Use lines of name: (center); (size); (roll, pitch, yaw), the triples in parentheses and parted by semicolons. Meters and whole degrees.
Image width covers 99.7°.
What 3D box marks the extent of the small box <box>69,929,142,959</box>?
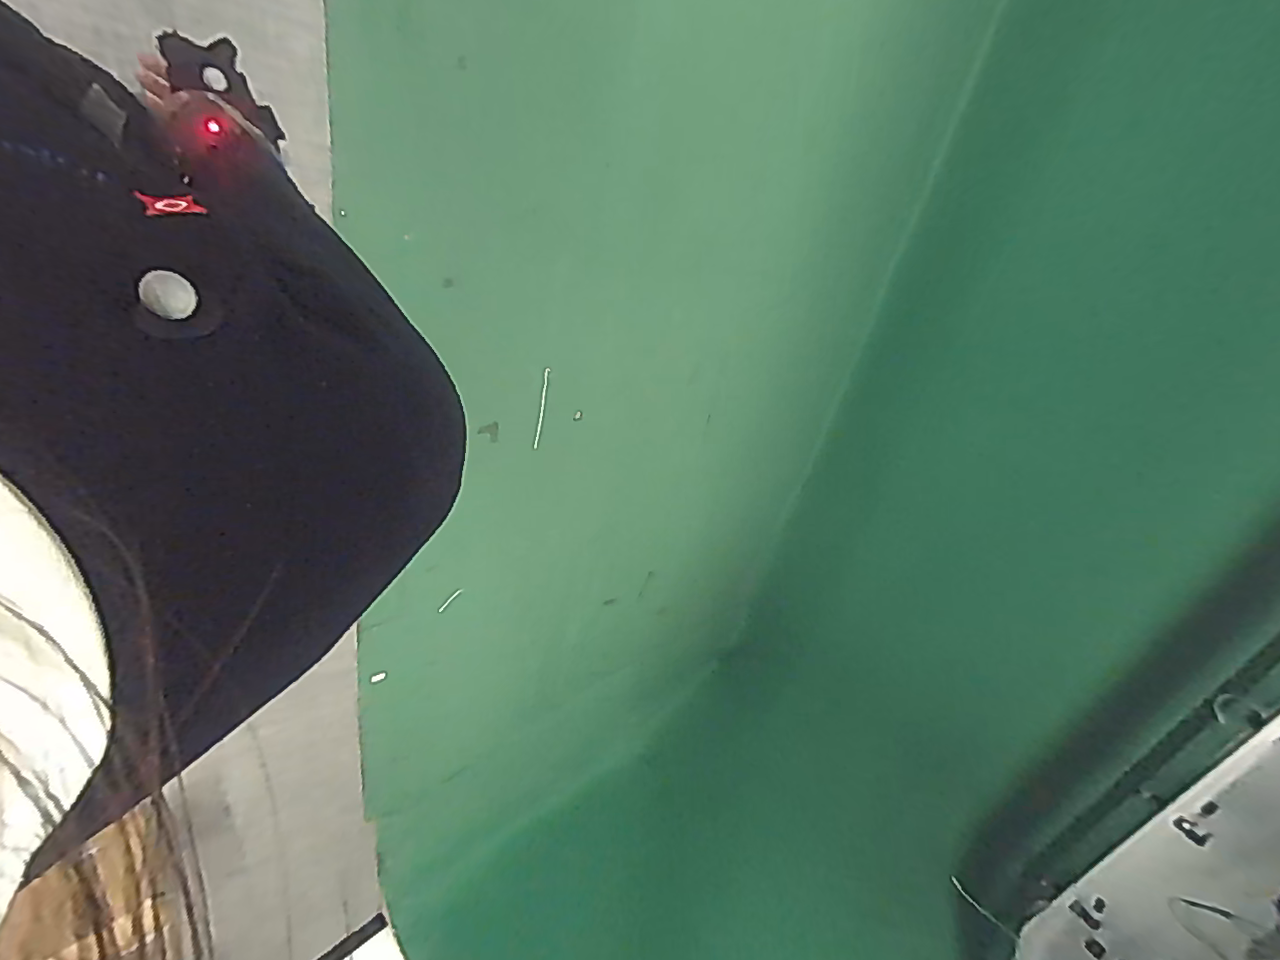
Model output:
small box: (-1.388, 1.311, 1.366); (0.179, 0.176, 0.168); (-18, 126, -41)
